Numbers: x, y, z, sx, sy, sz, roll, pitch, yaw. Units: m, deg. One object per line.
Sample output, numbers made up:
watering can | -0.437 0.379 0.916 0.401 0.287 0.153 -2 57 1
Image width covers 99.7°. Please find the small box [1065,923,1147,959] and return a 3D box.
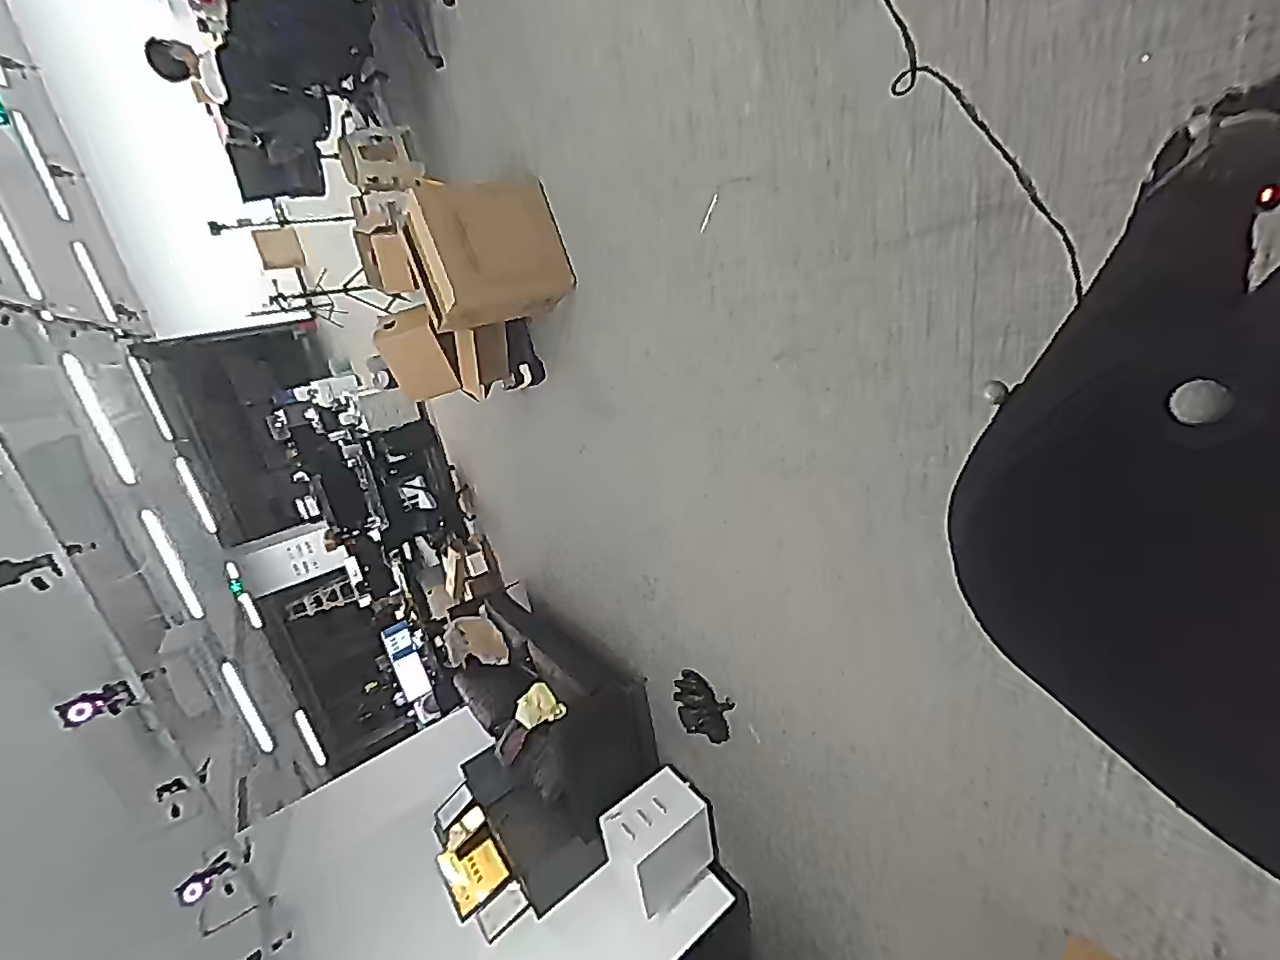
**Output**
small box | 1.369 1.458 1.583 0.179 0.176 0.168 24 132 49
